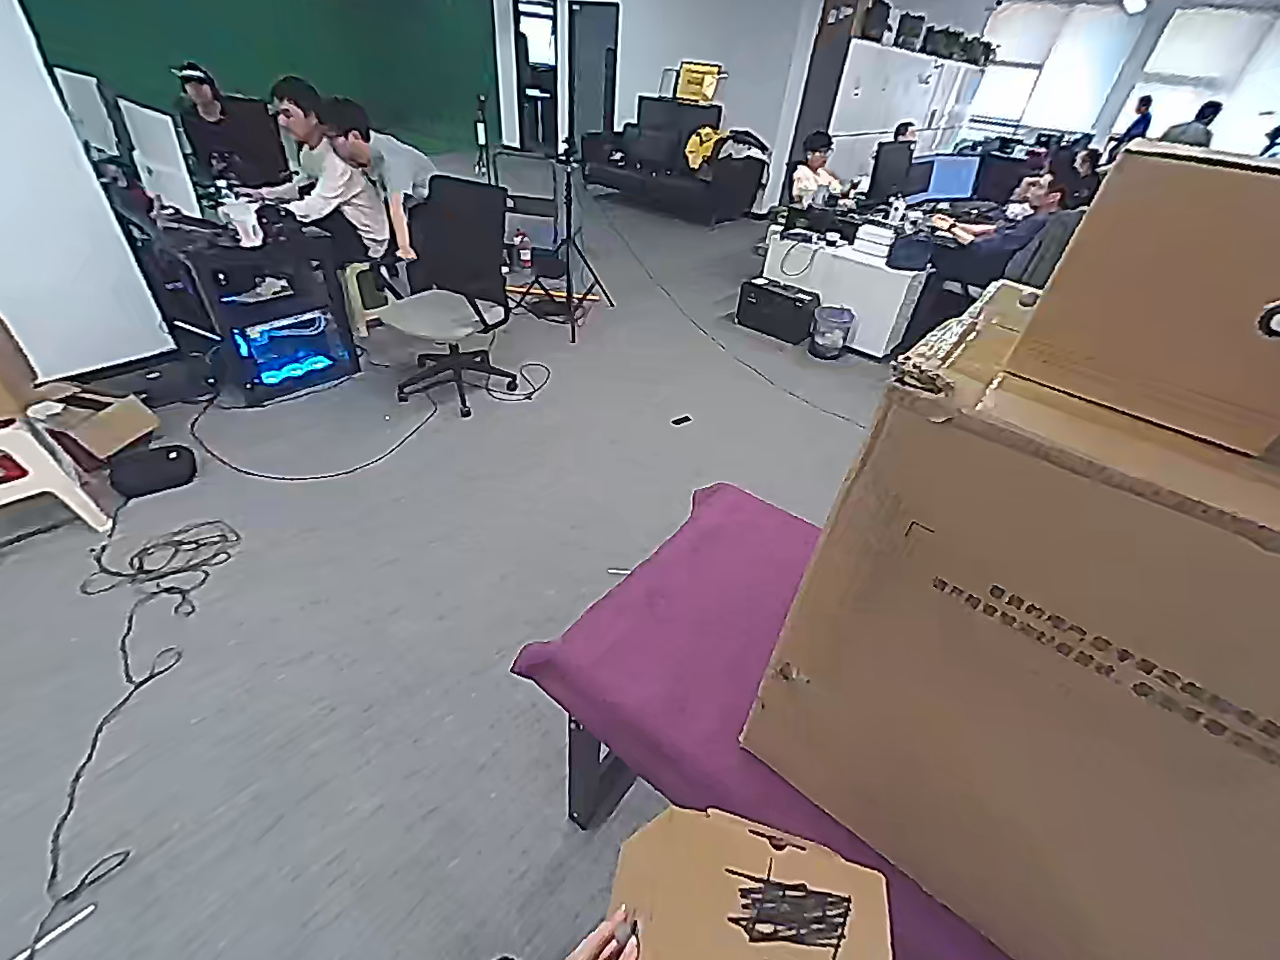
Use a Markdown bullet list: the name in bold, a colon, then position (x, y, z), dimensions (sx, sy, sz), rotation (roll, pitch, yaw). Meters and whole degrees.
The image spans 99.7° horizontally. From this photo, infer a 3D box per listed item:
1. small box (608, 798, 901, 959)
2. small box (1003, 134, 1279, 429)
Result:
- **small box**: position (0.067, 0.365, 0.386), dimensions (0.168, 0.176, 0.179), rotation (18, 45, -1)
- **small box**: position (0.433, -0.159, 0.425), dimensions (0.179, 0.176, 0.168), rotation (30, 43, 27)
